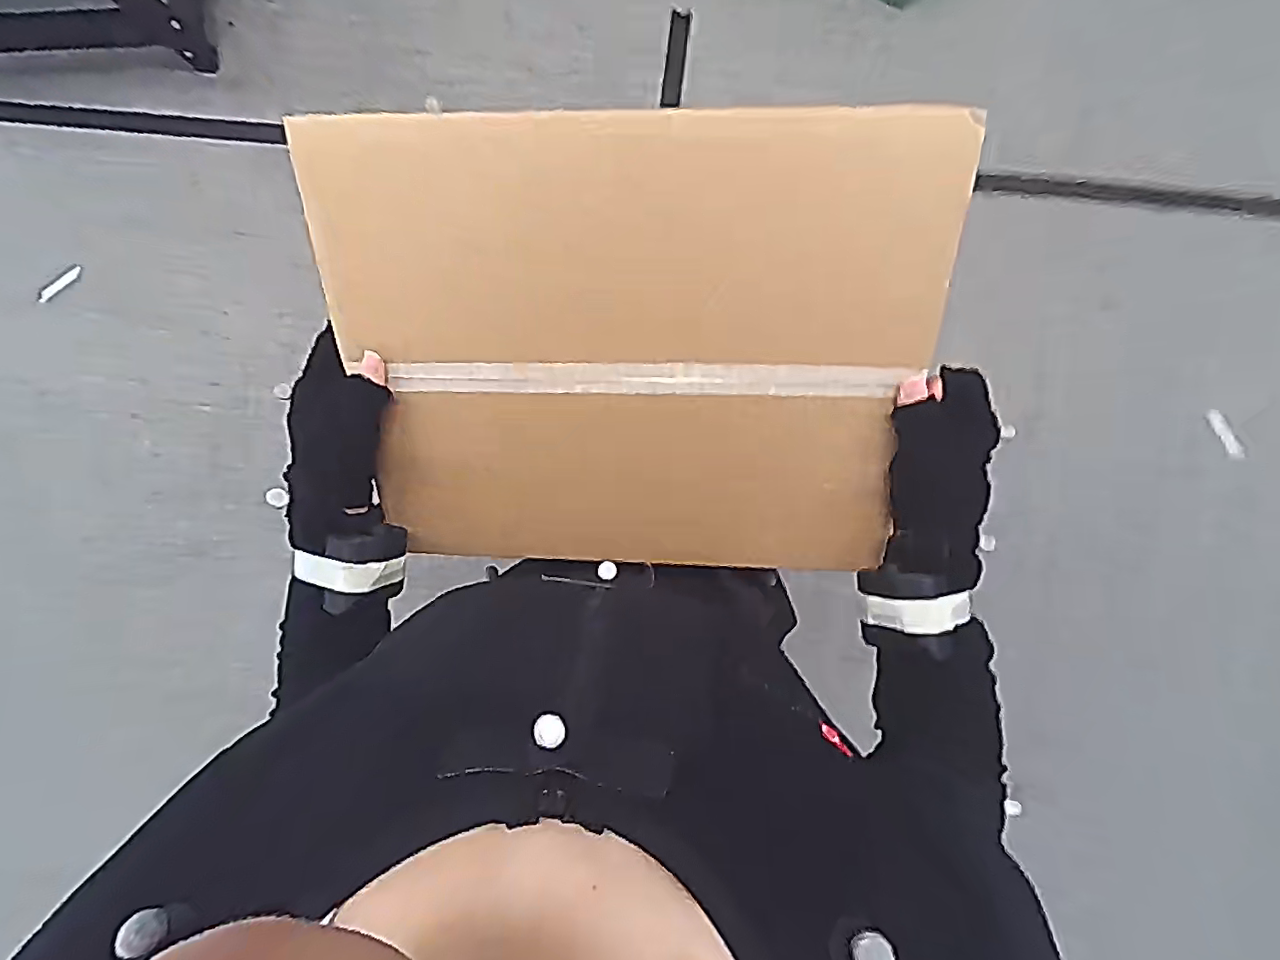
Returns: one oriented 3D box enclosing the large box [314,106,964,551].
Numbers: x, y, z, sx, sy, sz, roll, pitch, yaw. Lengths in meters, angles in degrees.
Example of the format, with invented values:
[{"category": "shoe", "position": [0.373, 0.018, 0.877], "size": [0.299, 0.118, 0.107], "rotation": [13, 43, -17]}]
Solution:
[{"category": "large box", "position": [0.002, -0.147, 0.524], "size": [0.408, 0.320, 0.320], "rotation": [2, 118, 4]}]
